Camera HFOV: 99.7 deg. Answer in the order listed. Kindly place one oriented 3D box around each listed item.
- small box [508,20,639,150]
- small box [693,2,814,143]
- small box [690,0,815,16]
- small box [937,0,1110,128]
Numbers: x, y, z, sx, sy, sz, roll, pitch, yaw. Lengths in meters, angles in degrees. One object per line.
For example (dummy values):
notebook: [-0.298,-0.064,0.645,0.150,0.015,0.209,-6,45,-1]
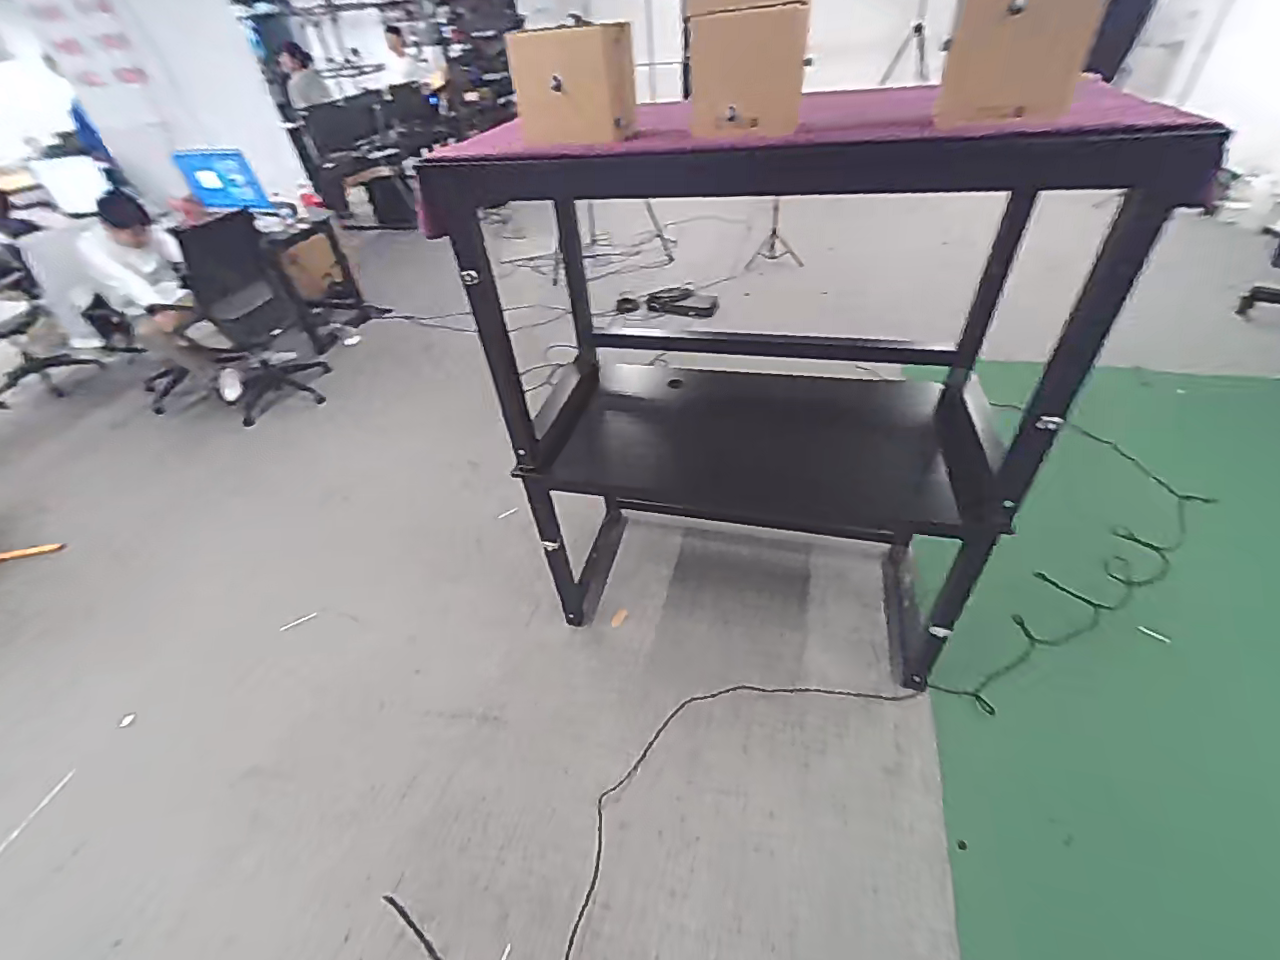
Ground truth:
small box: [-0.108,-0.712,0.979,0.179,0.176,0.168,6,42,15]
small box: [0.187,-0.673,0.898,0.168,0.176,0.179,8,43,17]
small box: [0.168,-0.795,0.790,0.179,0.176,0.168,7,42,17]
small box: [0.554,-0.636,0.805,0.168,0.176,0.179,8,43,18]
